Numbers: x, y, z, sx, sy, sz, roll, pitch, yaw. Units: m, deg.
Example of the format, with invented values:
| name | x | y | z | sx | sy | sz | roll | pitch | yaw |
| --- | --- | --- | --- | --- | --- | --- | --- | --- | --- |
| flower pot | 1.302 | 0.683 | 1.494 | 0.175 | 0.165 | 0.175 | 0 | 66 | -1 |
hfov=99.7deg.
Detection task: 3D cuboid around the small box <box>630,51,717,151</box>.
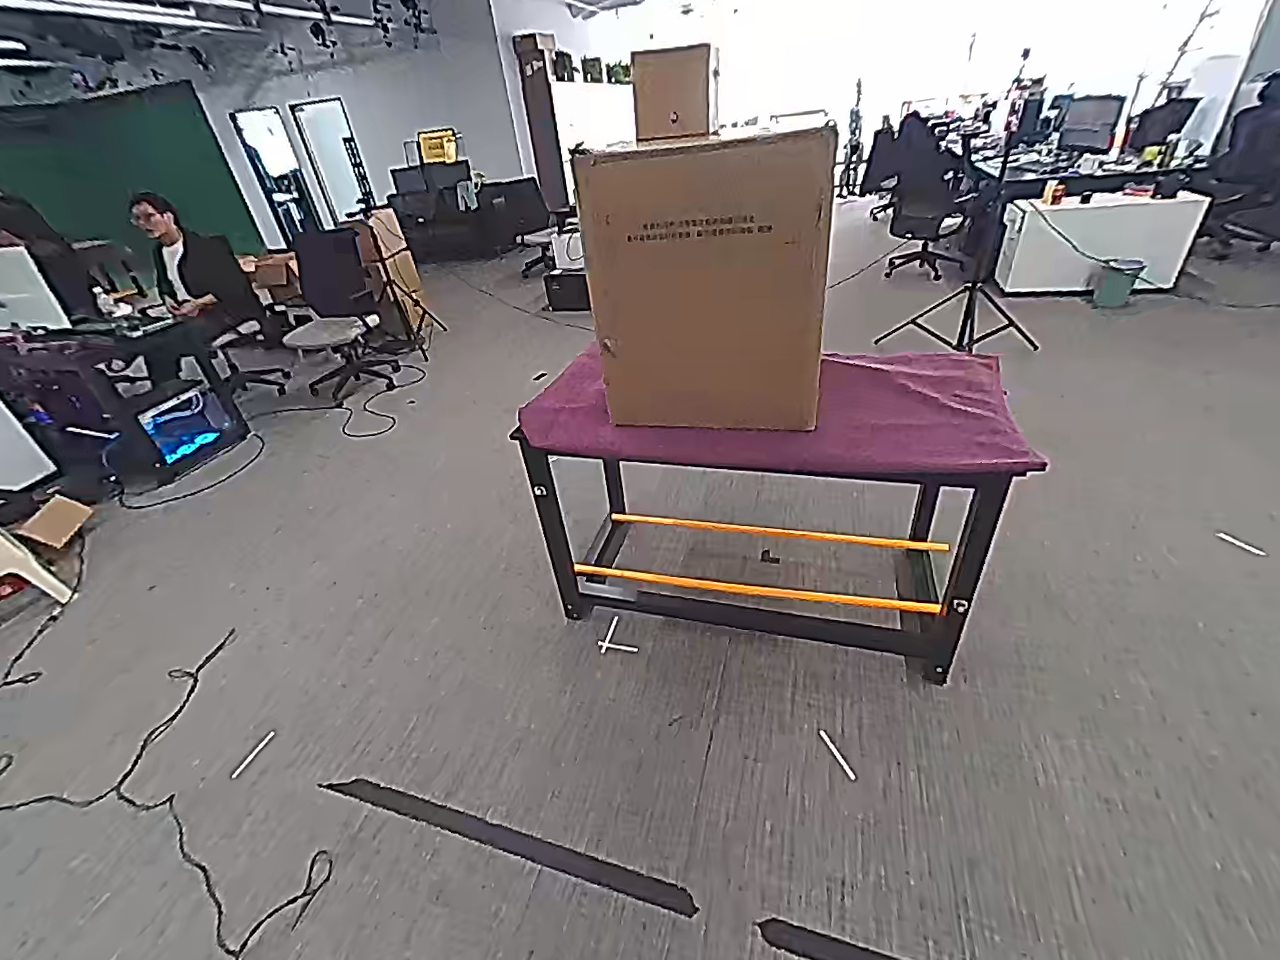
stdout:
| name | x | y | z | sx | sy | sz | roll | pitch | yaw |
| --- | --- | --- | --- | --- | --- | --- | --- | --- | --- |
| small box | 0.081 | -0.872 | 1.254 | 0.179 | 0.176 | 0.168 | 4 | 35 | 16 |
